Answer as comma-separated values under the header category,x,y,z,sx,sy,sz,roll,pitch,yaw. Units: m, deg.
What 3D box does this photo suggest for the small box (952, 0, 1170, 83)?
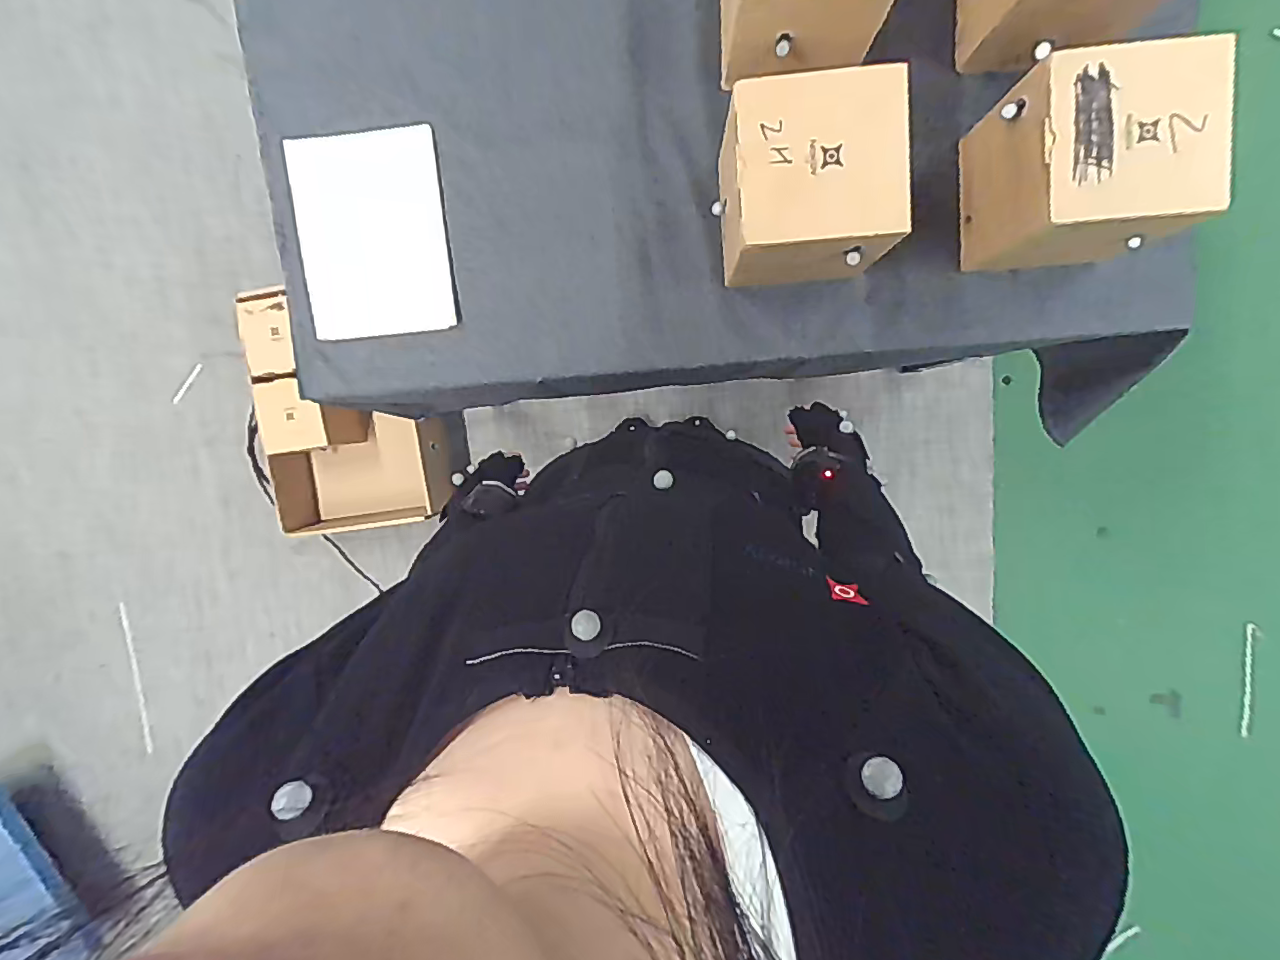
category,x,y,z,sx,sy,sz,roll,pitch,yaw
small box,0.471,-0.585,0.597,0.168,0.176,0.179,-1,96,4

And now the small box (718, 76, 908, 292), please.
category,x,y,z,sx,sy,sz,roll,pitch,yaw
small box,0.190,-0.330,0.636,0.179,0.176,0.168,-3,94,4

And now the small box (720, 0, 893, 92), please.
category,x,y,z,sx,sy,sz,roll,pitch,yaw
small box,0.182,-0.574,0.617,0.168,0.176,0.179,-1,95,3
